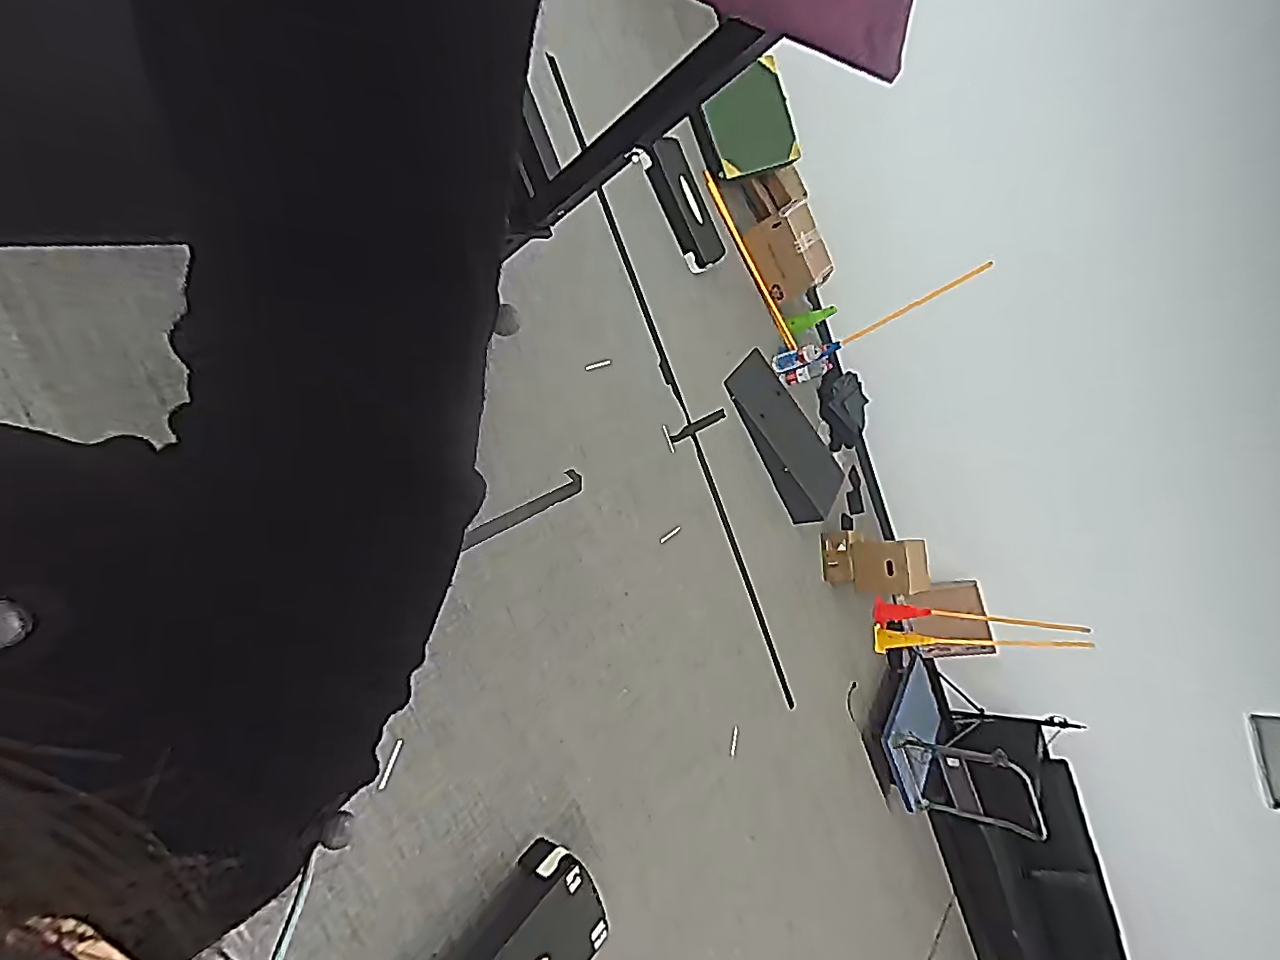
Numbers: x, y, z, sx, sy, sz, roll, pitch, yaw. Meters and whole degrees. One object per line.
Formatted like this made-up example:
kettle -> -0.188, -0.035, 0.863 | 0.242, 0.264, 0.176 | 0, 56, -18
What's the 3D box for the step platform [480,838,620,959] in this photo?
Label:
step platform -> -0.353, 1.327, 1.441 | 0.684, 0.204, 0.286 | -22, 96, -48
